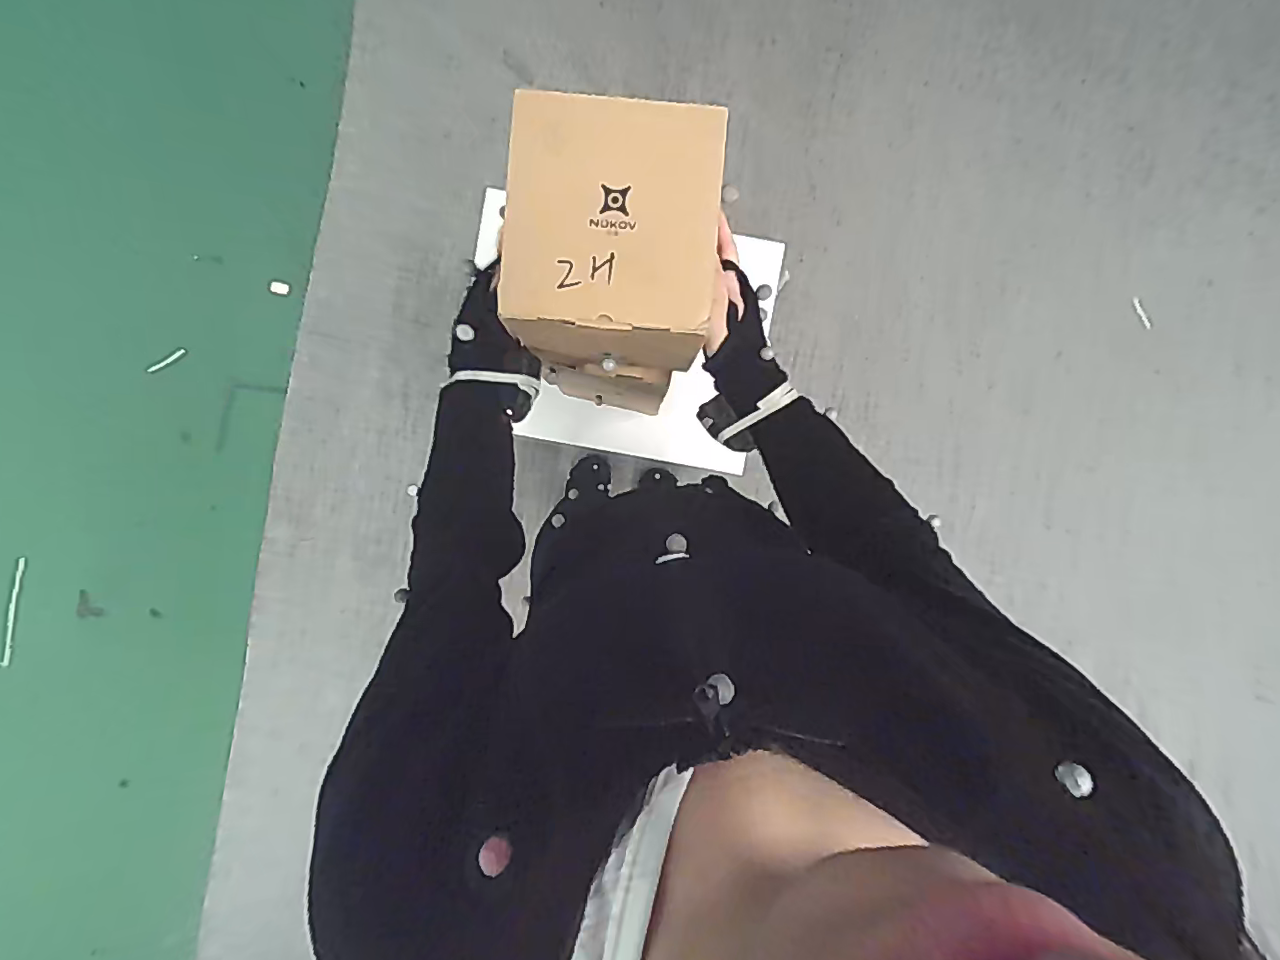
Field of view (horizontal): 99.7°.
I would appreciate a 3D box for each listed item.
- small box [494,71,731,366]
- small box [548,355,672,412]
[{"bbox_3d":[-0.021,-0.210,0.479,0.168,0.176,0.179,4,91,0],"label":"small box"},{"bbox_3d":[-0.029,-0.210,0.808,0.168,0.176,0.179,13,91,-1],"label":"small box"}]
